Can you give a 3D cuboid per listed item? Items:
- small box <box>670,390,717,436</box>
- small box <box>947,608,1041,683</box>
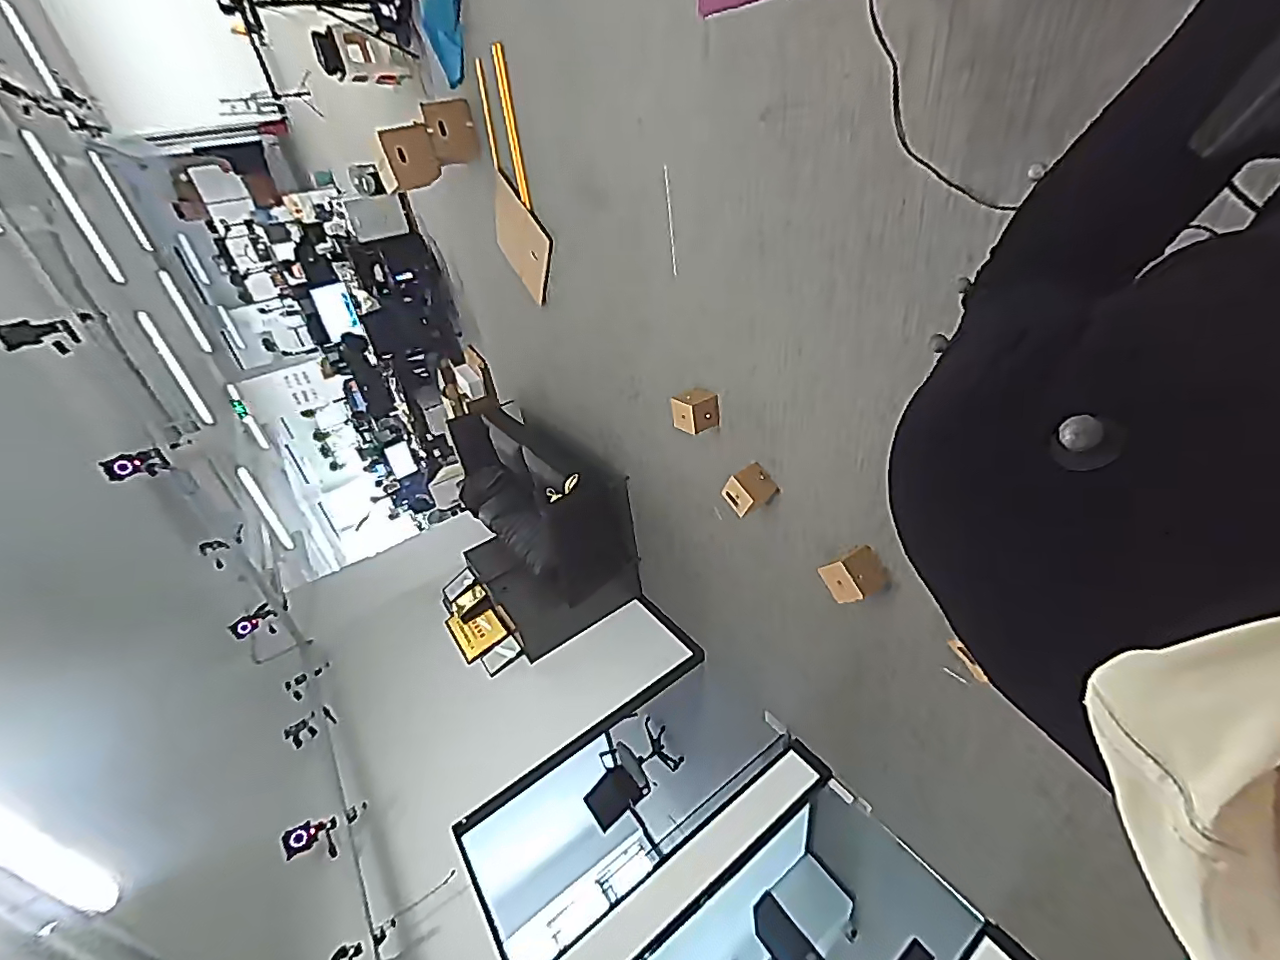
[{"bbox_3d":[0.282,-0.350,2.769,0.179,0.176,0.168,31,139,48],"label":"small box"},{"bbox_3d":[1.219,0.569,1.861,0.168,0.176,0.179,54,153,18],"label":"small box"}]
